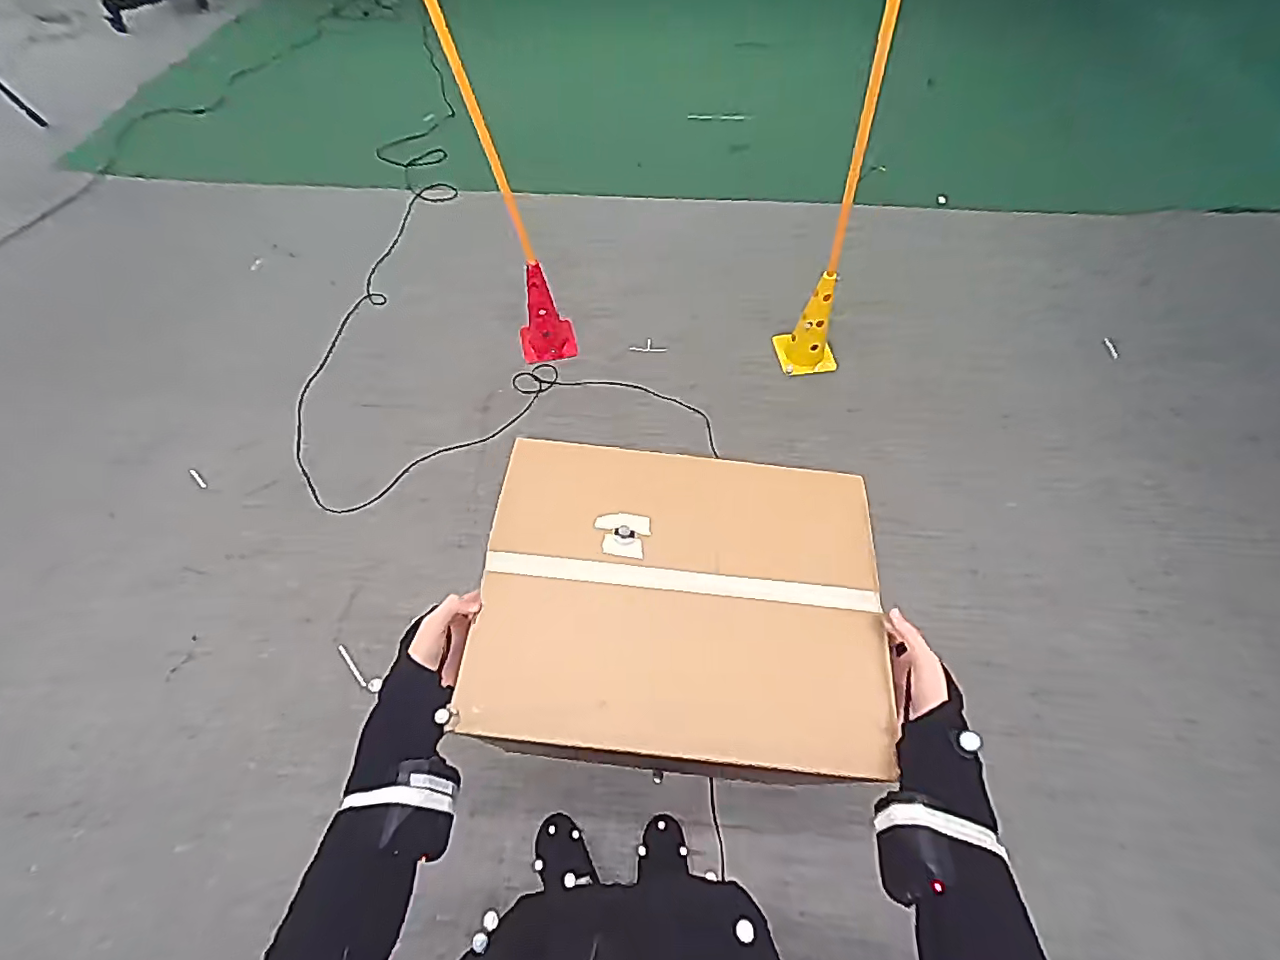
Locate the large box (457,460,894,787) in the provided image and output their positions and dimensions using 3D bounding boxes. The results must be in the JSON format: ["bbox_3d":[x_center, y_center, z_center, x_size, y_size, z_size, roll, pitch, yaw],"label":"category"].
[{"bbox_3d":[0.040,0.198,0.687,0.408,0.320,0.320,6,58,1],"label":"large box"}]
